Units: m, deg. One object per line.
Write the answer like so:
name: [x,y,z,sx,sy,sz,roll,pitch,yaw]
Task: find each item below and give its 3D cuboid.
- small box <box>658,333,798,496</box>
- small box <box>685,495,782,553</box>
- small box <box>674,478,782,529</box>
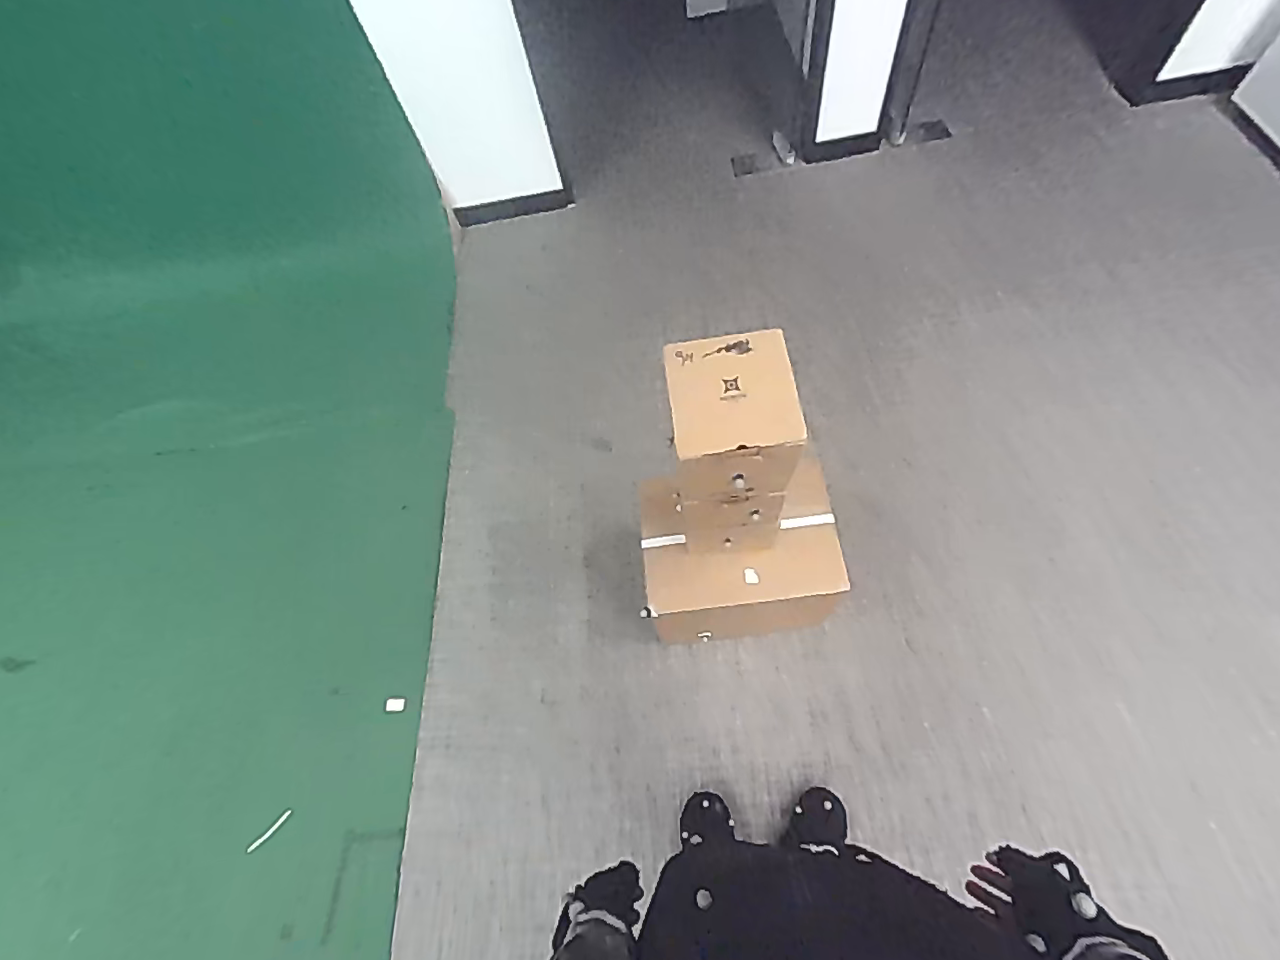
small box: [0.123,-0.083,0.788,0.168,0.176,0.179,-8,69,4]
small box: [0.173,0.043,1.084,0.179,0.176,0.168,-8,68,4]
small box: [0.142,-0.020,0.937,0.168,0.176,0.179,-7,67,4]
